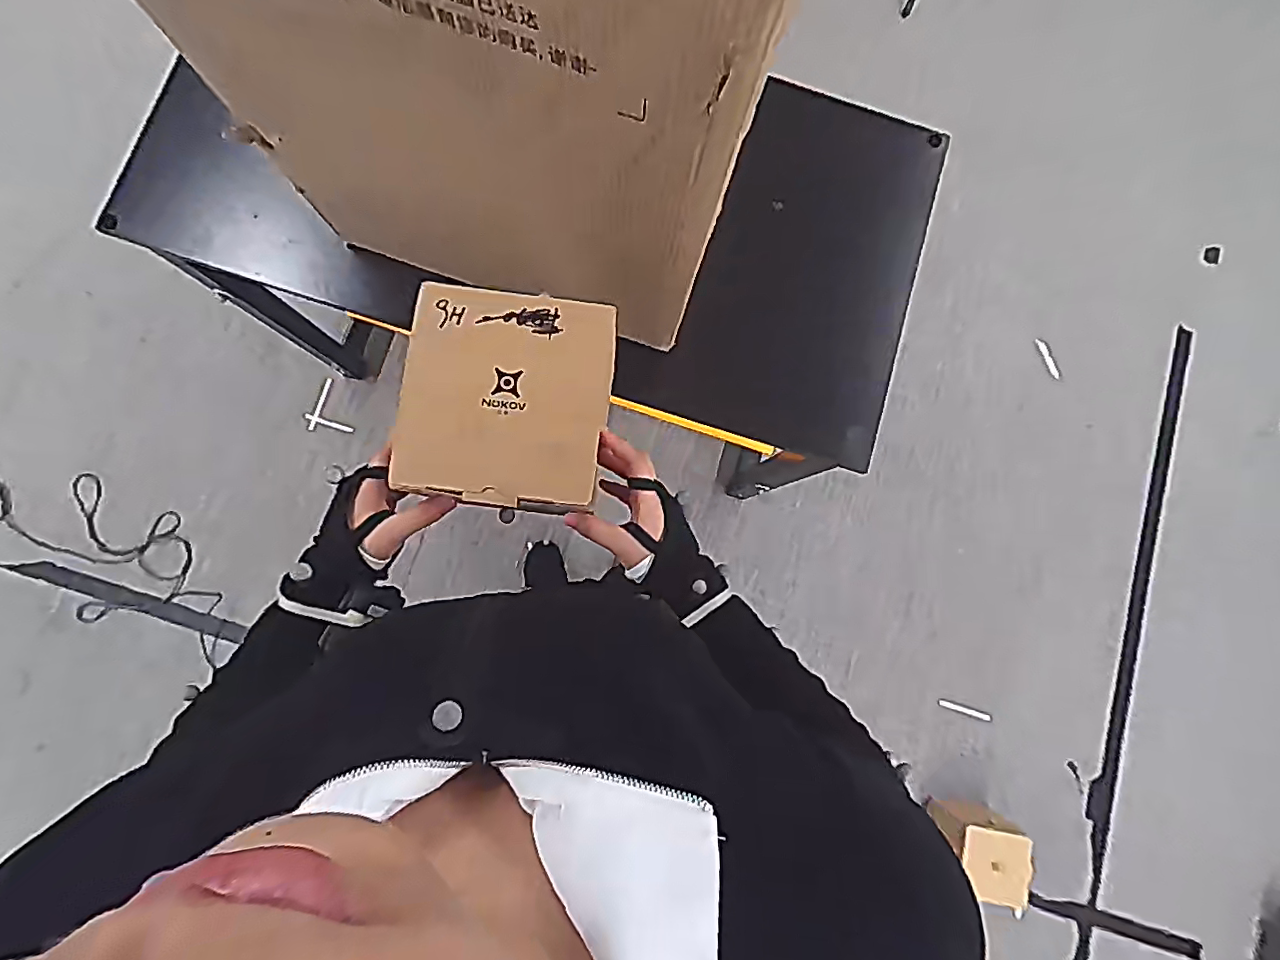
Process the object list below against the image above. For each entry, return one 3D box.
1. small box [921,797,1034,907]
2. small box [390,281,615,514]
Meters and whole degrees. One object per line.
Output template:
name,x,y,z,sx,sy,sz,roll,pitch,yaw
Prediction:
small box,0.866,0.952,1.398,0.179,0.176,0.168,11,82,-1
small box,-0.115,-0.062,0.521,0.168,0.176,0.179,7,84,-3
